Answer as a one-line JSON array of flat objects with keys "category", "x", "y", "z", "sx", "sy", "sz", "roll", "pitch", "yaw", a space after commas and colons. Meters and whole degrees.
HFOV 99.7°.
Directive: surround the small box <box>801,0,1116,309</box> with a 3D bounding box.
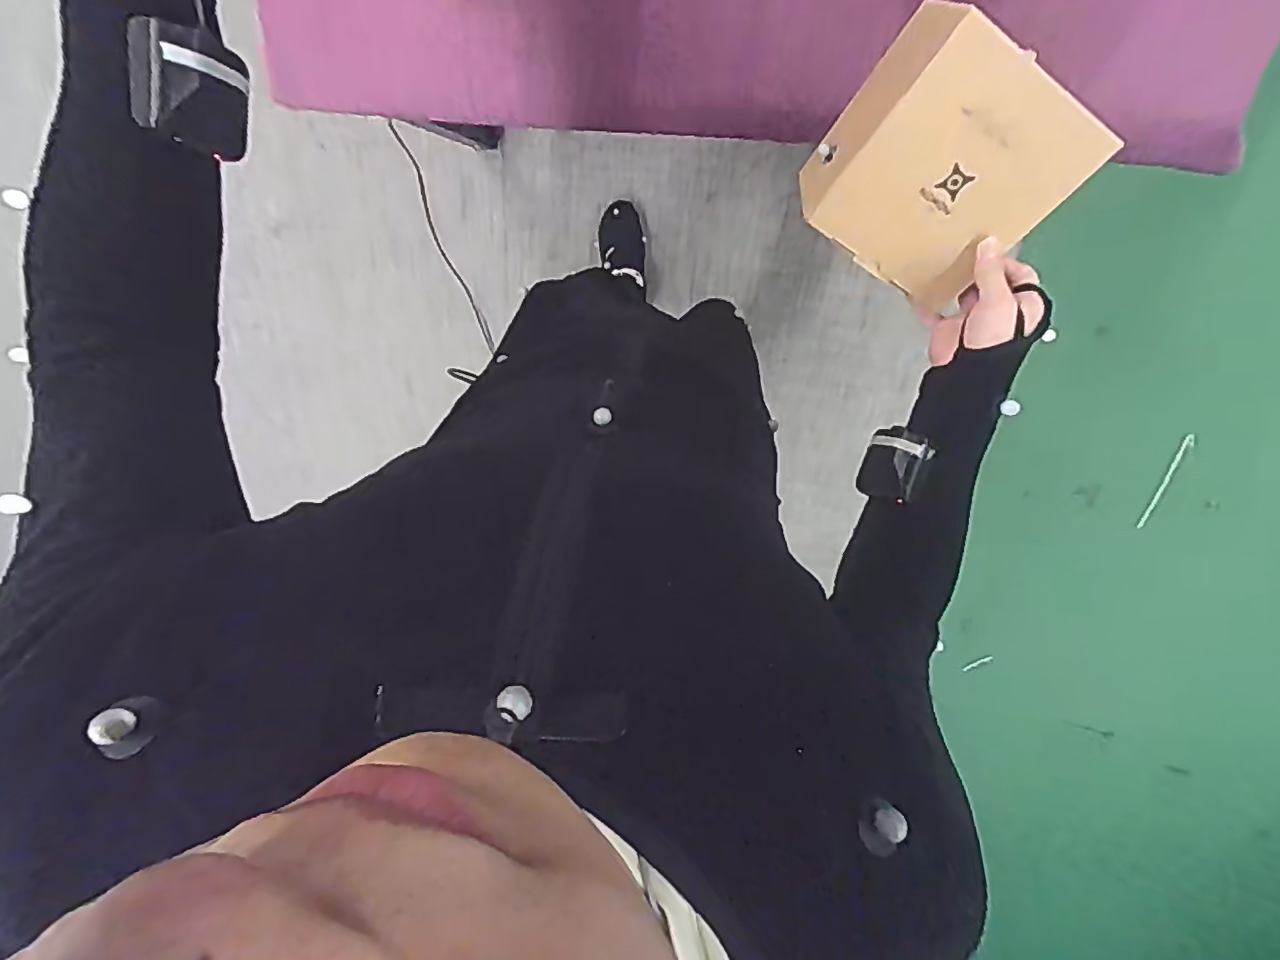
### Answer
[{"category": "small box", "x": 0.274, "y": -0.305, "z": 0.511, "sx": 0.168, "sy": 0.176, "sz": 0.179, "roll": 29, "pitch": 132, "yaw": -12}]
